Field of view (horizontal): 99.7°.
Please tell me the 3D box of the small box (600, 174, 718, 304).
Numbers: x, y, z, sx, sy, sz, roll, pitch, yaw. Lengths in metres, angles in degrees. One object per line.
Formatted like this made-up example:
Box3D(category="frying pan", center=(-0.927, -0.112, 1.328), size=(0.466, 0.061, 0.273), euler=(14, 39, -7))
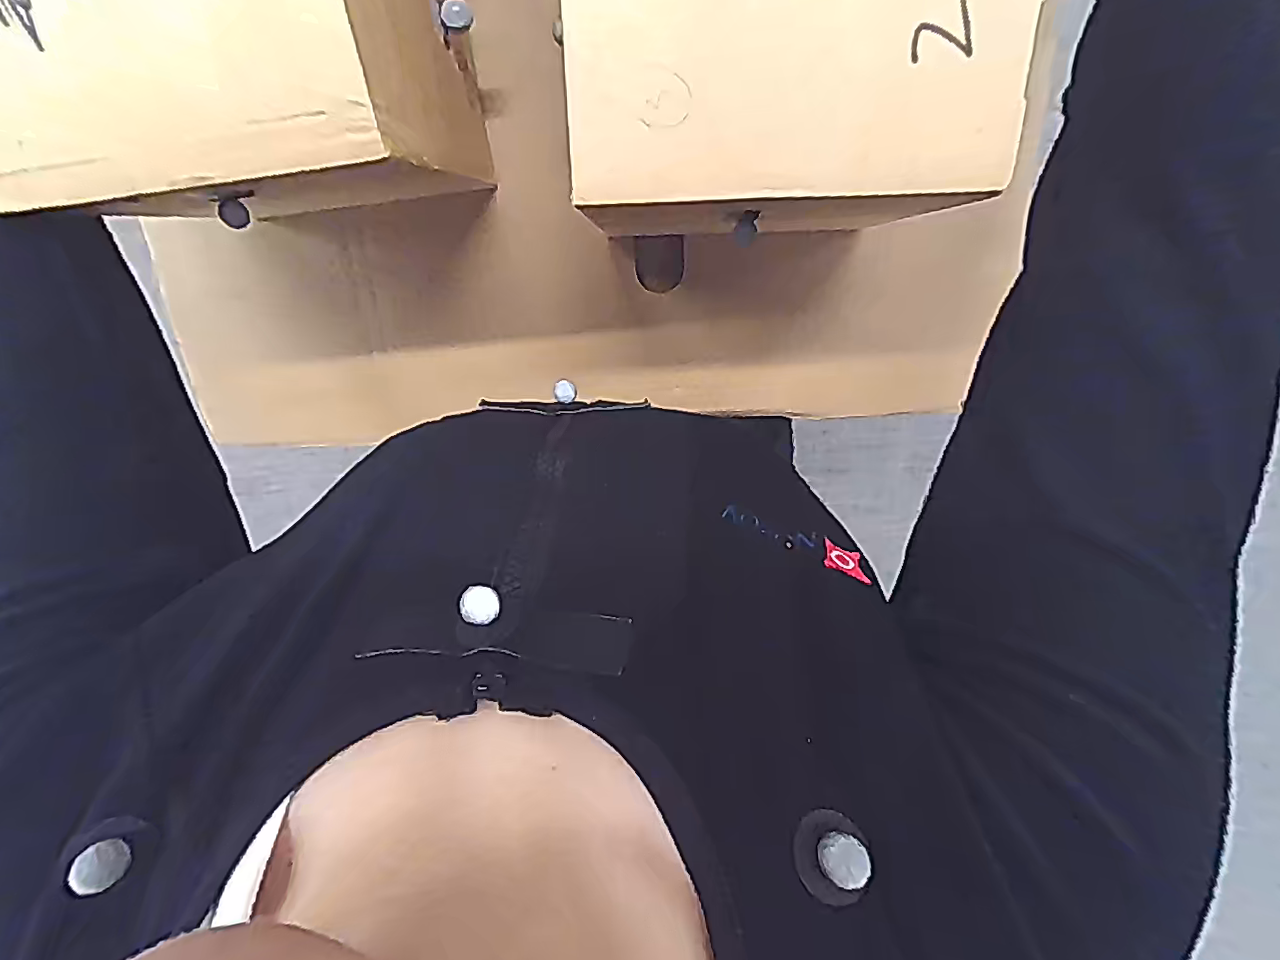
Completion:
Box3D(category="small box", center=(0.032, -0.494, 1.135), size=(0.168, 0.176, 0.179), euler=(-30, 104, -8))
